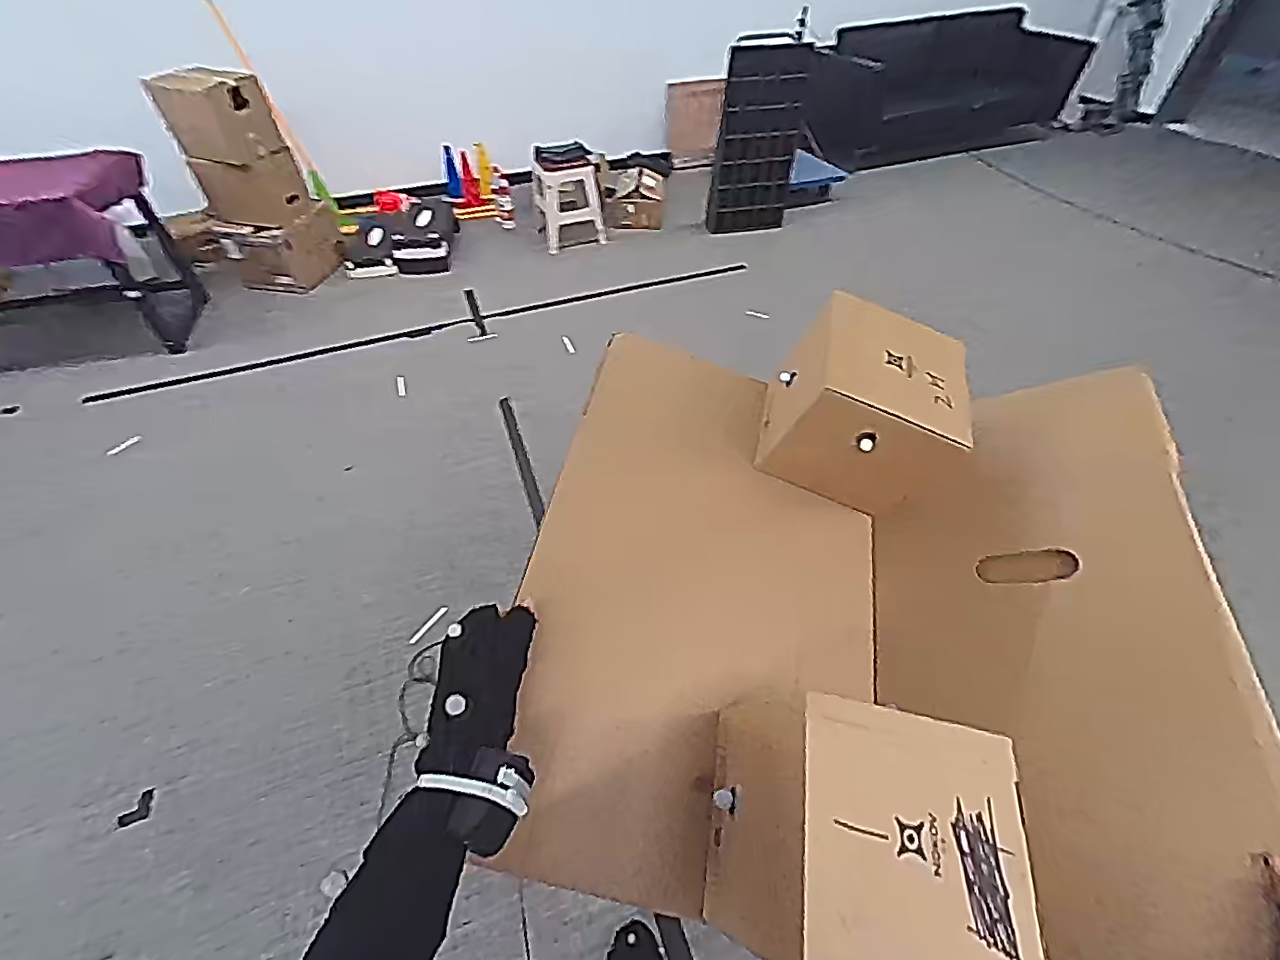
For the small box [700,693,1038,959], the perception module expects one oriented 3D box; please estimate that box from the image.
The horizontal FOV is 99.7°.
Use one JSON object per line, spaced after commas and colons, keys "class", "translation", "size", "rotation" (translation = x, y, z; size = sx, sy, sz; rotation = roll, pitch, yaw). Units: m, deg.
{"class": "small box", "translation": [0.164, 0.283, 0.435], "size": [0.179, 0.176, 0.168], "rotation": [15, 58, -9]}
